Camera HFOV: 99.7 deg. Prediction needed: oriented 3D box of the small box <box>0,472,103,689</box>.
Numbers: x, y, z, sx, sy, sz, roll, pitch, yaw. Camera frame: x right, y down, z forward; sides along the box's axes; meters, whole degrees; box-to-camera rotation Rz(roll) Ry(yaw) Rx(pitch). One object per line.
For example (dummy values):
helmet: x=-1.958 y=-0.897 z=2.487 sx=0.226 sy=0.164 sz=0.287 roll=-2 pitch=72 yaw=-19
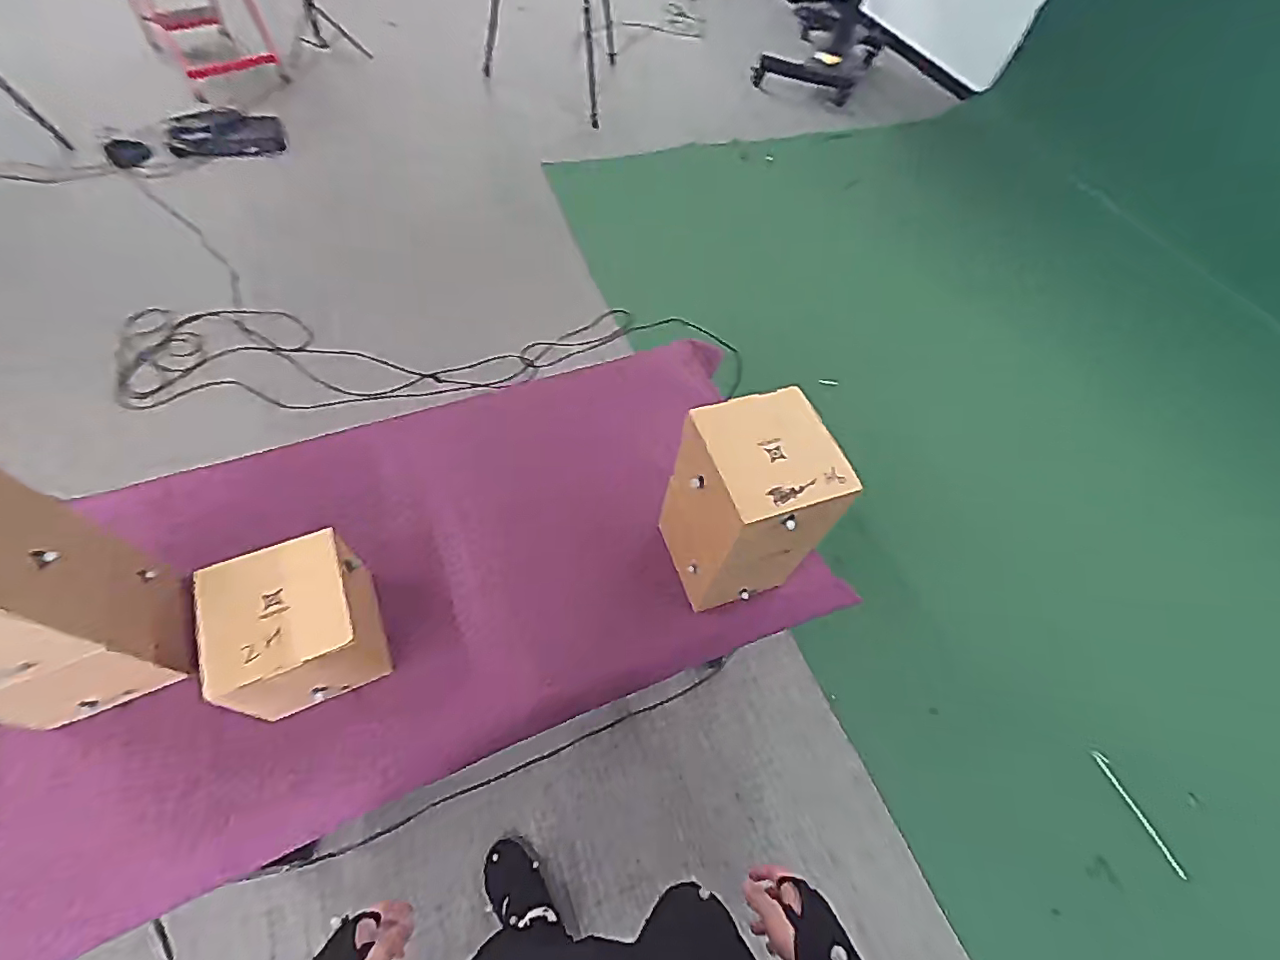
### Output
small box: x=-0.733 y=0.119 z=0.580 sx=0.168 sy=0.176 sz=0.179 roll=-21 pitch=64 yaw=-17

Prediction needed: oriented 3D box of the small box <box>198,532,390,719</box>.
small box: x=-0.470 y=0.205 z=0.750 sx=0.168 sy=0.176 sz=0.179 roll=-20 pitch=63 yaw=-17

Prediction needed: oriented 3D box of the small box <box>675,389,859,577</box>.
small box: x=0.157 y=0.007 z=0.744 sx=0.168 sy=0.176 sz=0.179 roll=-15 pitch=60 yaw=-13

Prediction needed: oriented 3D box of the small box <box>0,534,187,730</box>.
small box: x=-0.749 y=0.205 z=0.718 sx=0.168 sy=0.176 sz=0.179 roll=-21 pitch=64 yaw=-17
